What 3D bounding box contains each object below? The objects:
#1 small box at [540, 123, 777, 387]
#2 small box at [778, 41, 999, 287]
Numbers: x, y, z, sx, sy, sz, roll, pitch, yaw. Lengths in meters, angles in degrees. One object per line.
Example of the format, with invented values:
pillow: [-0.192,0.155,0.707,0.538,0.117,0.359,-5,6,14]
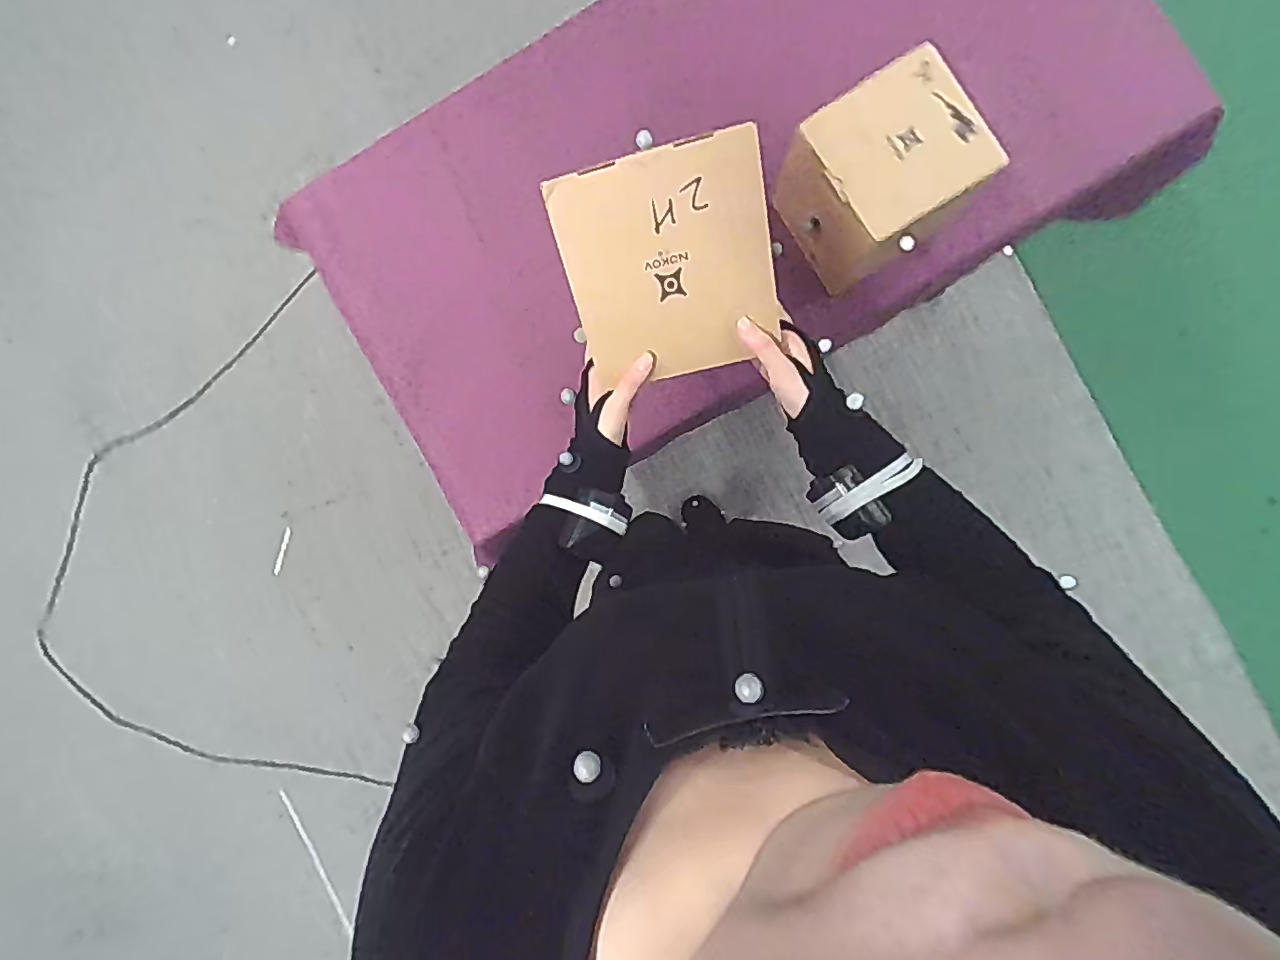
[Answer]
small box: [0.025,-0.211,0.503,0.168,0.176,0.179,-11,120,8]
small box: [0.291,-0.378,0.685,0.179,0.176,0.168,-31,87,4]
